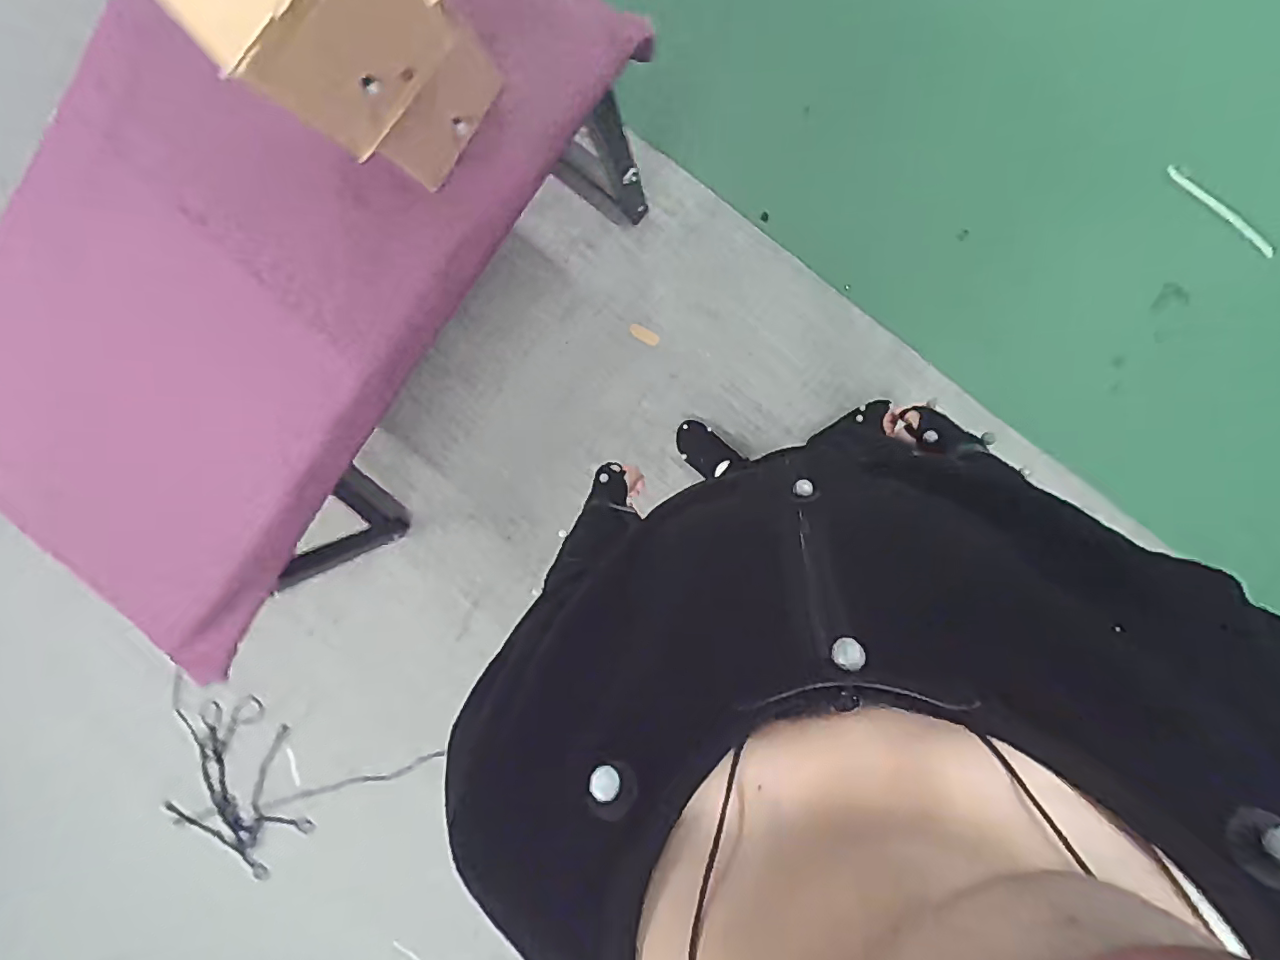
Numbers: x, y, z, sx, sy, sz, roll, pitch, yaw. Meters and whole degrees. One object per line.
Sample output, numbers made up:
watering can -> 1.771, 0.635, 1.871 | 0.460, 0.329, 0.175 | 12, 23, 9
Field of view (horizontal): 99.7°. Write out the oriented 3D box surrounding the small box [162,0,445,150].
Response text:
small box -> -0.327, -0.461, 0.507 | 0.168, 0.176, 0.179 | -44, 90, 11

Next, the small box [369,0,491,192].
small box -> -0.310, -0.504, 0.665 | 0.168, 0.176, 0.179 | 39, 101, 3
